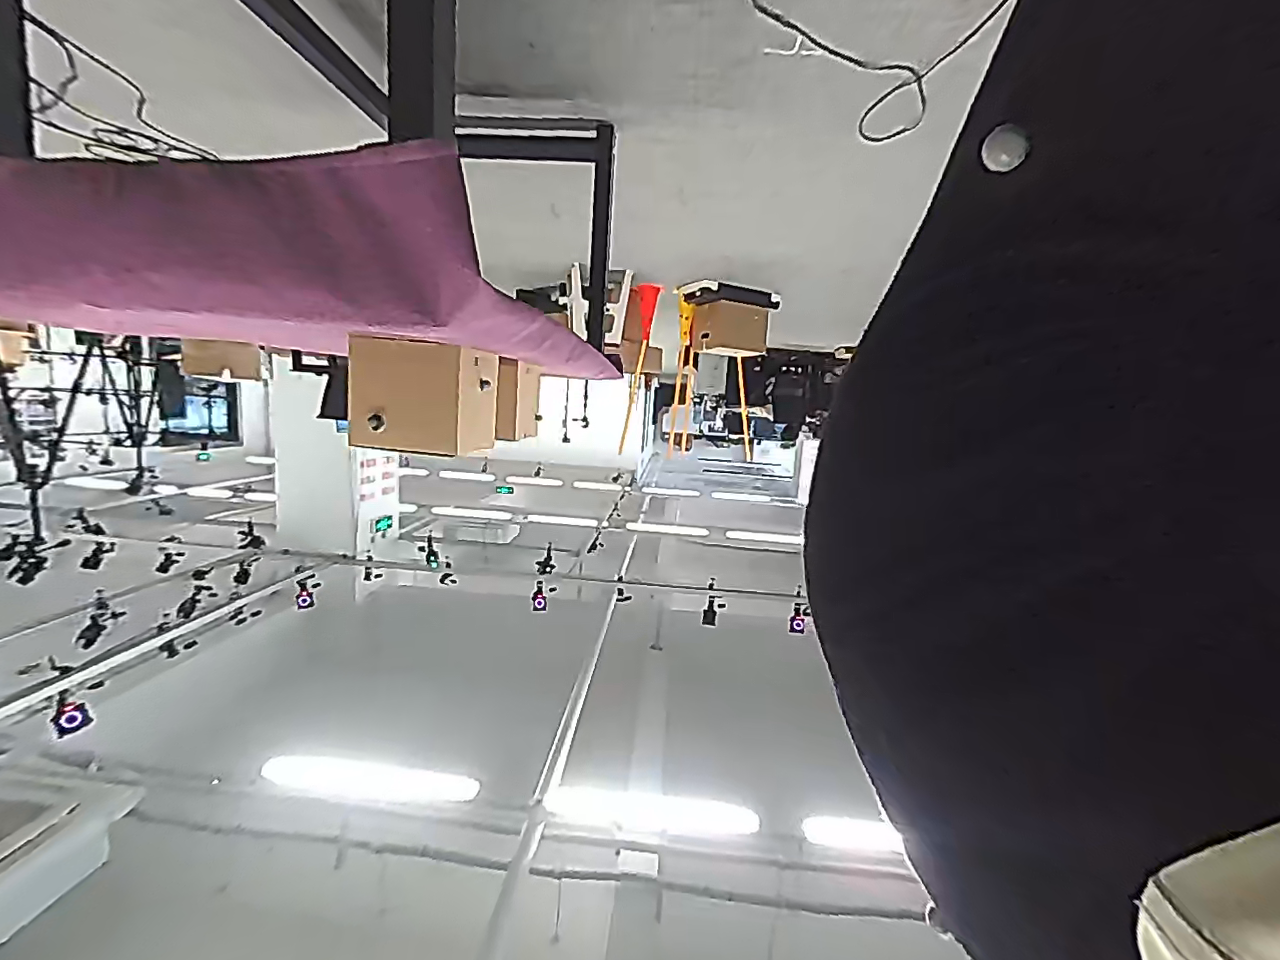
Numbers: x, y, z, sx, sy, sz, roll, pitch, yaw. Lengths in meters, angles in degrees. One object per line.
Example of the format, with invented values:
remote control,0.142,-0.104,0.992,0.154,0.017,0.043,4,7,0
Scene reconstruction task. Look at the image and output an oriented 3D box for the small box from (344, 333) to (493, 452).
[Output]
small box,-0.350,-0.143,0.879,0.179,0.176,0.168,5,-171,3
